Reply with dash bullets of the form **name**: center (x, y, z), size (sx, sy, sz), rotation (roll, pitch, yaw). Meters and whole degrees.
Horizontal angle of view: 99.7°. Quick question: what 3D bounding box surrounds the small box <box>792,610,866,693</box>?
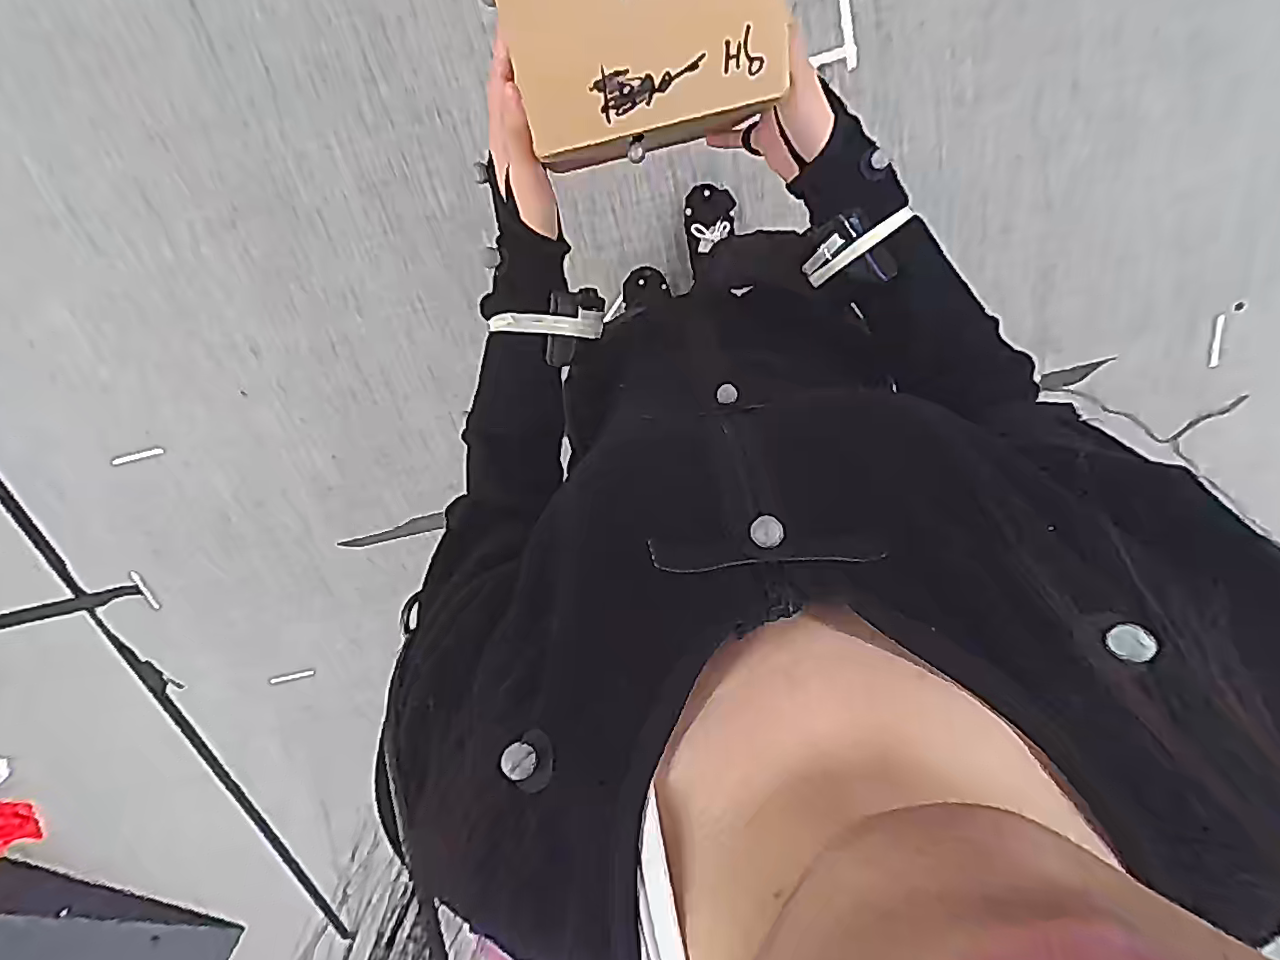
- **small box**: center (0.583, 0.524, 1.684), size (0.168, 0.176, 0.179), rotation (-13, 113, 3)

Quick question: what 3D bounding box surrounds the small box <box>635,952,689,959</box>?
- **small box**: center (0.033, 1.132, 1.122), size (0.179, 0.176, 0.168), rotation (-12, 112, 2)

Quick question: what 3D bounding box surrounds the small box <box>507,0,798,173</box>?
- **small box**: center (-0.006, -0.331, 0.370), size (0.168, 0.176, 0.179), rotation (-13, 116, 1)
